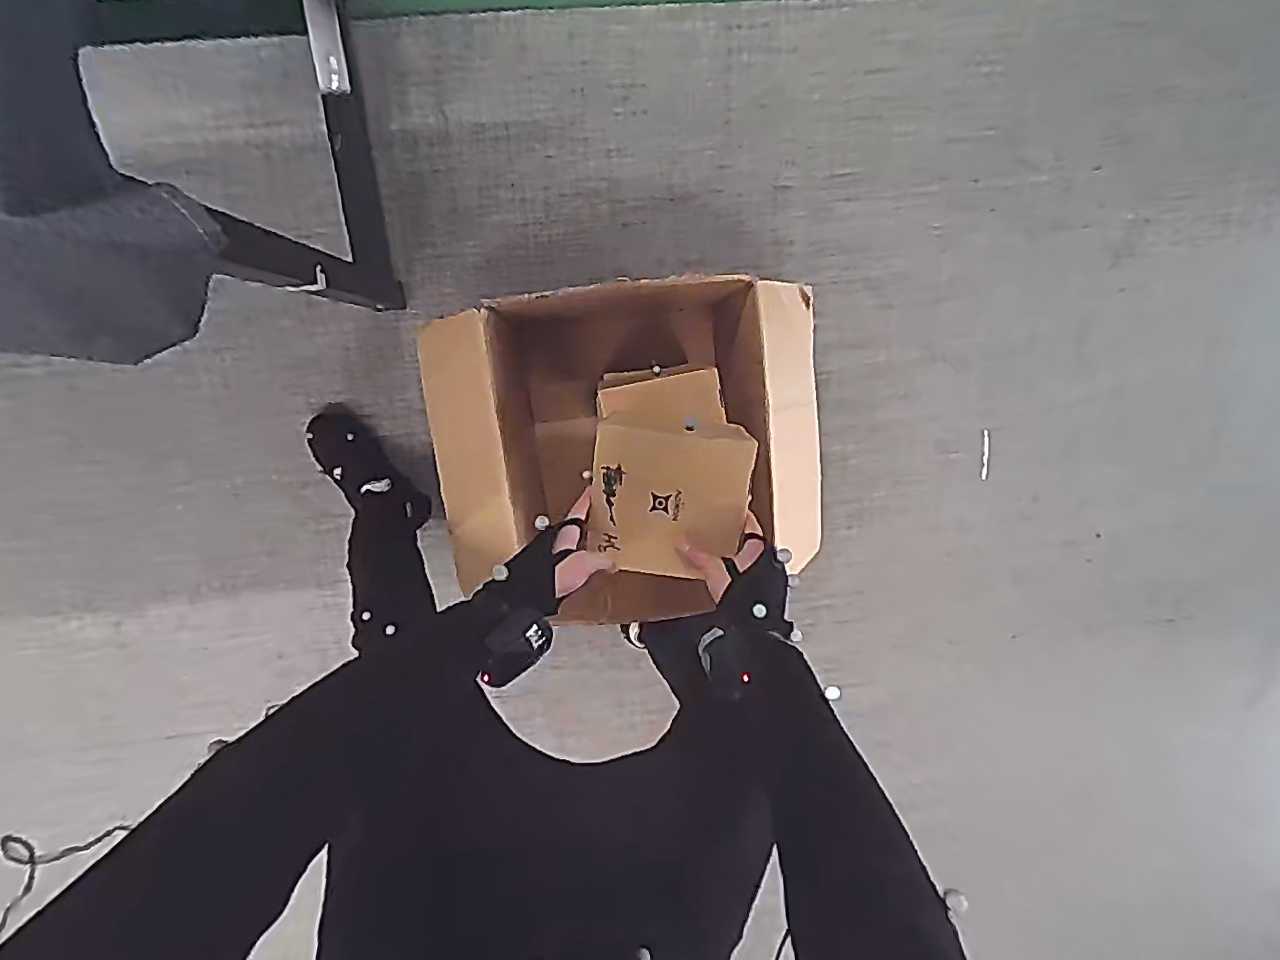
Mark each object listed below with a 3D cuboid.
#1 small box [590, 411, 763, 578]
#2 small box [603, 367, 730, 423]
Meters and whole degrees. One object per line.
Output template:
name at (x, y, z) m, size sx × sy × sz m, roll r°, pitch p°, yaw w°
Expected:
small box at (0.041, 0.007, 0.680) m, size 0.179 × 0.176 × 0.168 m, roll 8°, pitch 101°, yaw 1°
small box at (0.041, -0.081, 0.855) m, size 0.179 × 0.176 × 0.168 m, roll -11°, pitch 104°, yaw -1°
